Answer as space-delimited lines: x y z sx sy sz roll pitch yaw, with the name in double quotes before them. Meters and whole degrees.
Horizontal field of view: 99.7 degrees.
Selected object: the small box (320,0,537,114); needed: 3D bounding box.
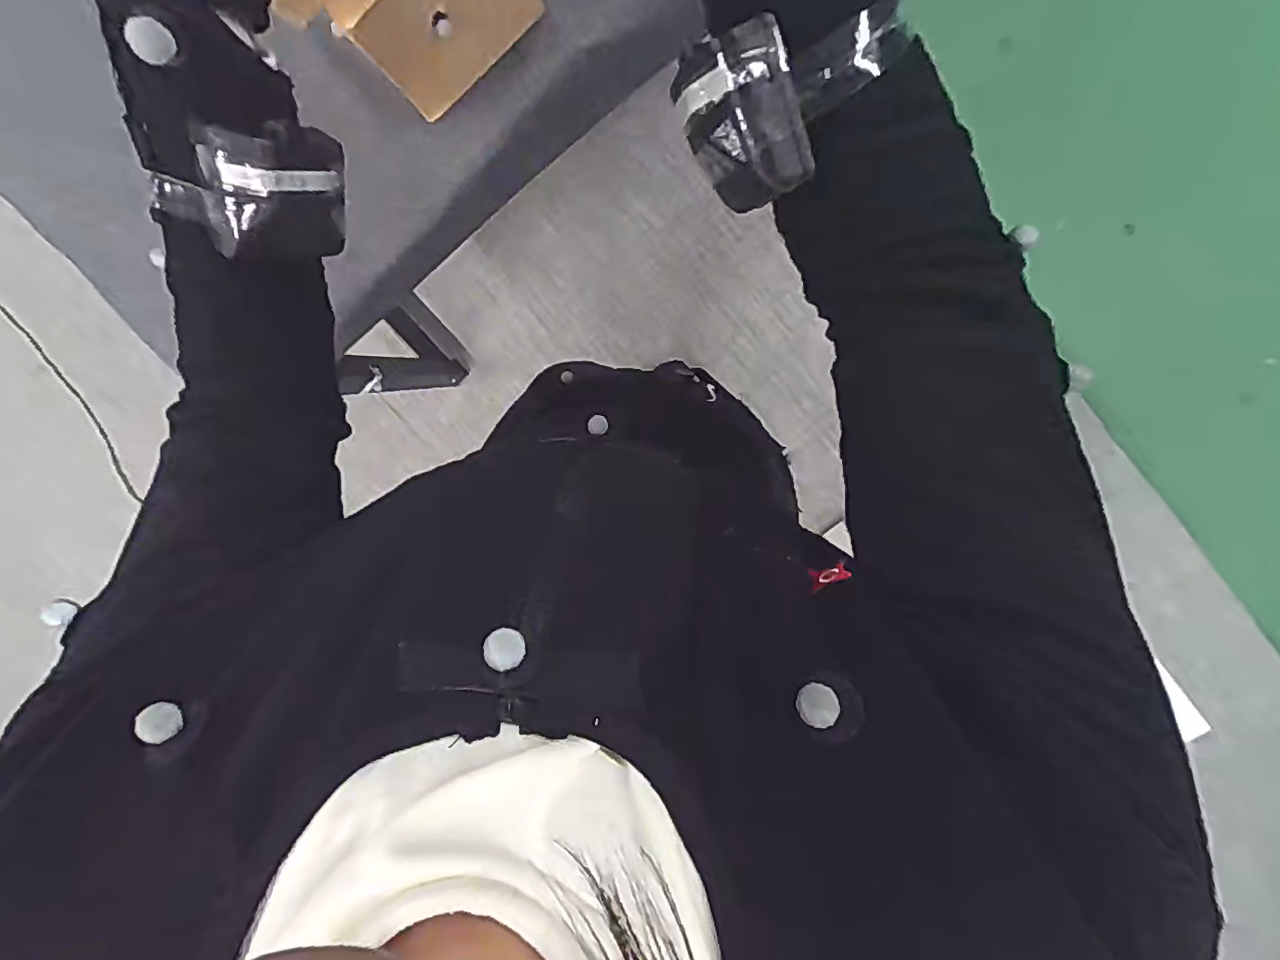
"small box" -0.226 -0.508 0.519 0.179 0.176 0.168 -37 95 11
